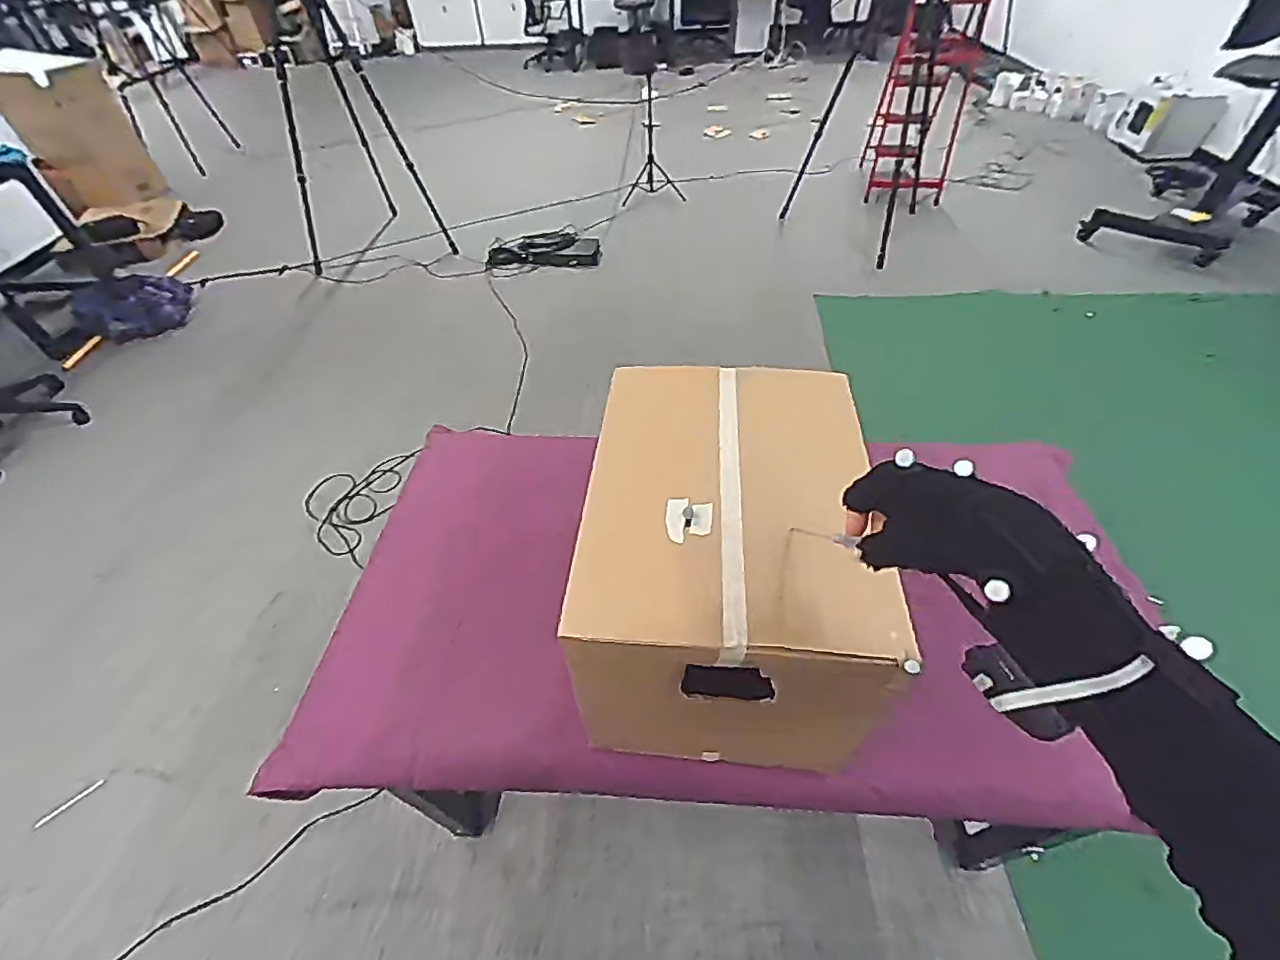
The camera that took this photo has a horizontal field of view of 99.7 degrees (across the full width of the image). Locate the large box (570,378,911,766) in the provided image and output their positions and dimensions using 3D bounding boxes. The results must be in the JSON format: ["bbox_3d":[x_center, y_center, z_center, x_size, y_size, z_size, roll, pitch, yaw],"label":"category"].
[{"bbox_3d":[0.105,0.112,0.725,0.320,0.320,0.408,3,48,5],"label":"large box"}]
